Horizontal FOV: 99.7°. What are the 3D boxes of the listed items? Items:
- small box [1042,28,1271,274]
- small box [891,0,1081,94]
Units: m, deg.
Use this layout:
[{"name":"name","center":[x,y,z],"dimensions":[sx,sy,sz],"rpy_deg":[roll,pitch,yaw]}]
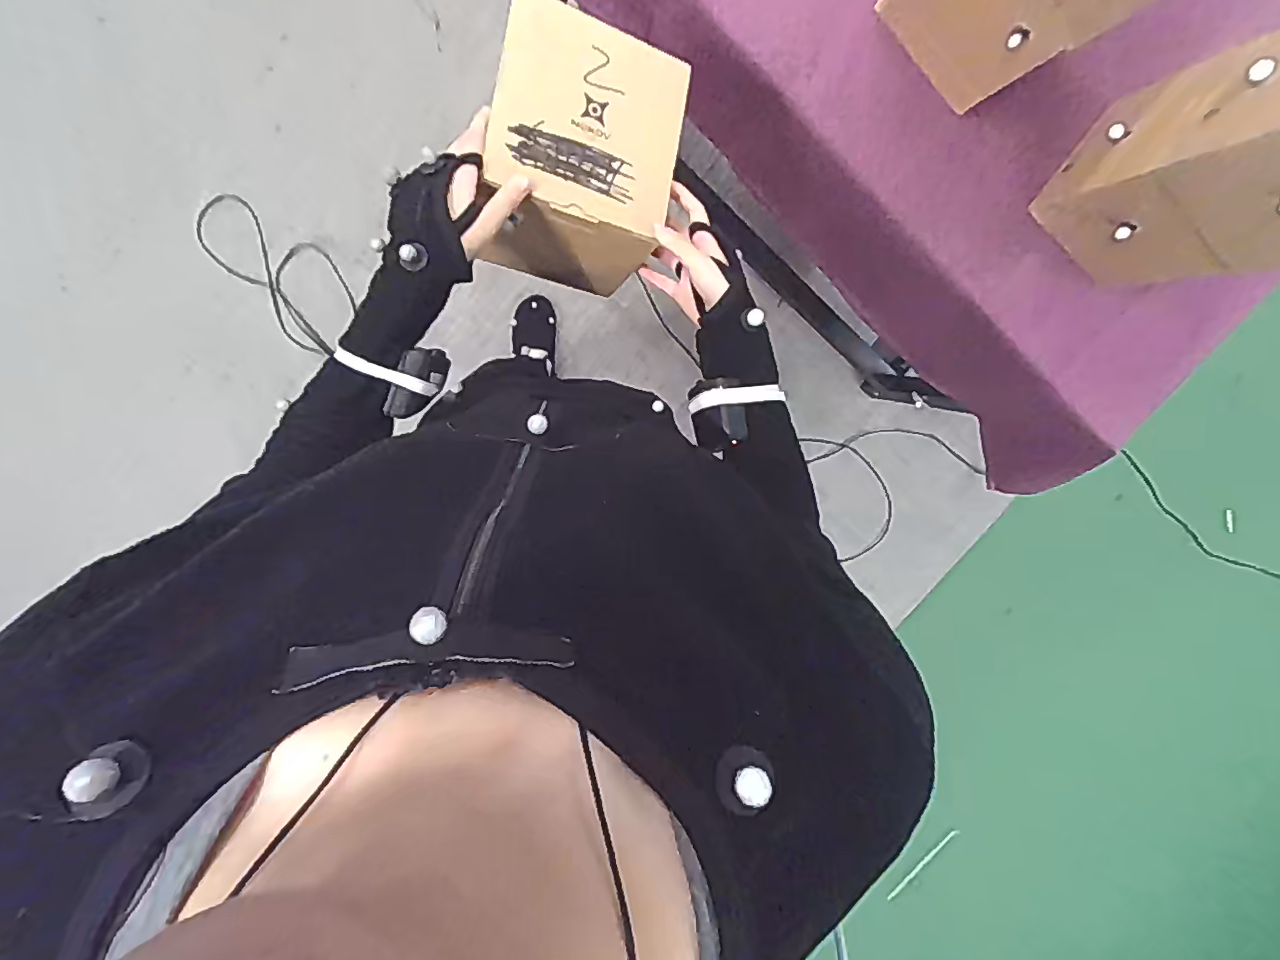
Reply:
[{"name":"small box","center":[0.659,-0.377,0.666],"dimensions":[0.179,0.176,0.168],"rpy_deg":[36,98,-12]},{"name":"small box","center":[0.414,-0.581,0.590],"dimensions":[0.179,0.176,0.168],"rpy_deg":[39,96,-15]}]
